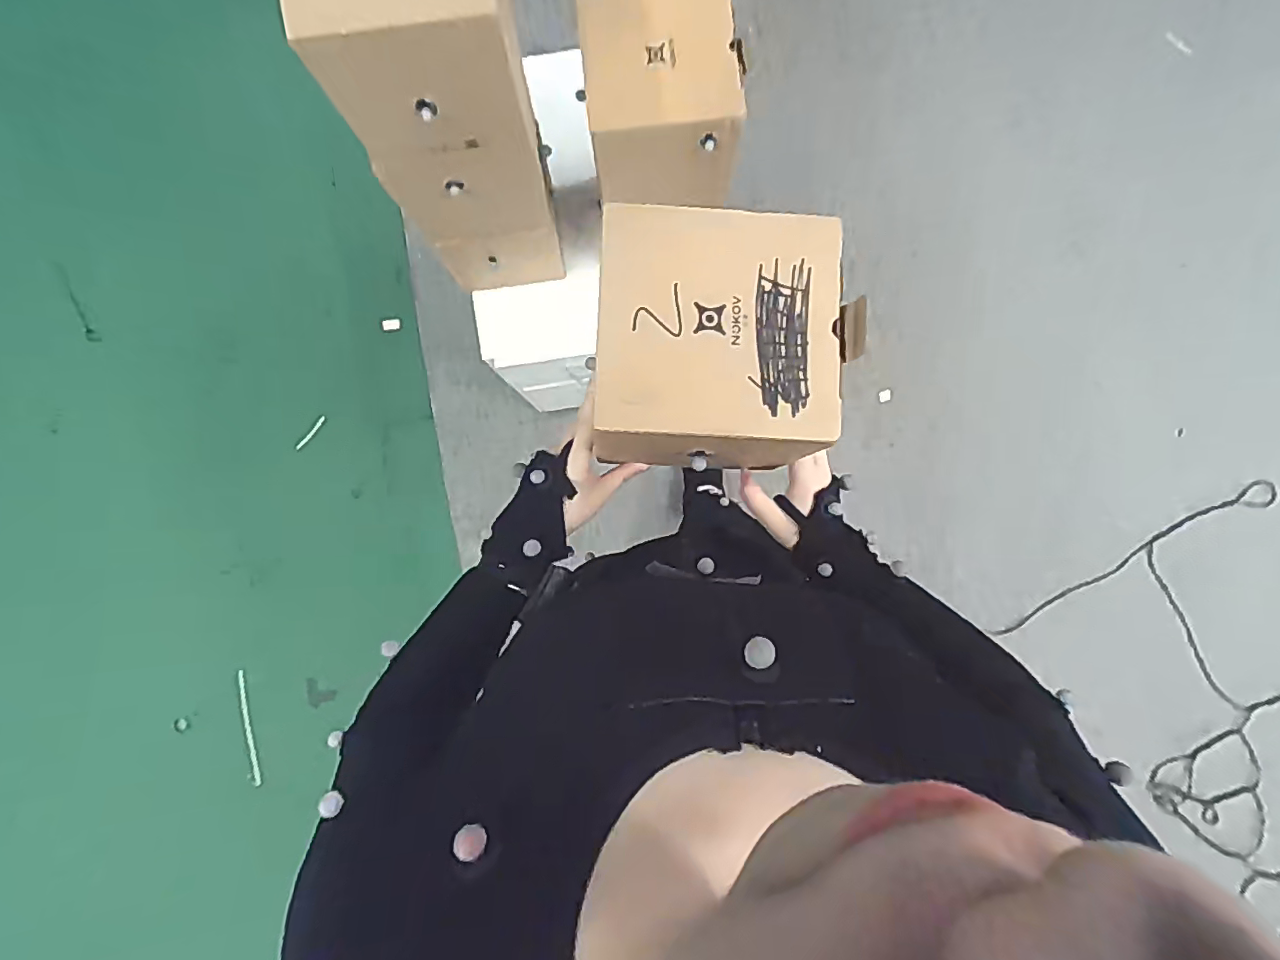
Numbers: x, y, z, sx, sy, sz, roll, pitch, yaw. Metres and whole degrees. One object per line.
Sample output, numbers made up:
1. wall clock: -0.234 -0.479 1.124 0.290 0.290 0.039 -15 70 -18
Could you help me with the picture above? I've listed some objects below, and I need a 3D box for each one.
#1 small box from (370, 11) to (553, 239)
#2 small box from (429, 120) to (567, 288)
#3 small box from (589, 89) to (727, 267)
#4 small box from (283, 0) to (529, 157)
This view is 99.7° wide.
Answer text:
1. small box: -0.215 -0.420 0.665 0.179 0.176 0.168 -9 89 -3
2. small box: -0.217 -0.410 0.830 0.179 0.176 0.168 -9 89 -3
3. small box: 0.026 -0.452 0.836 0.179 0.176 0.168 -10 87 1
4. small box: -0.205 -0.430 0.501 0.168 0.176 0.179 -9 89 -3
